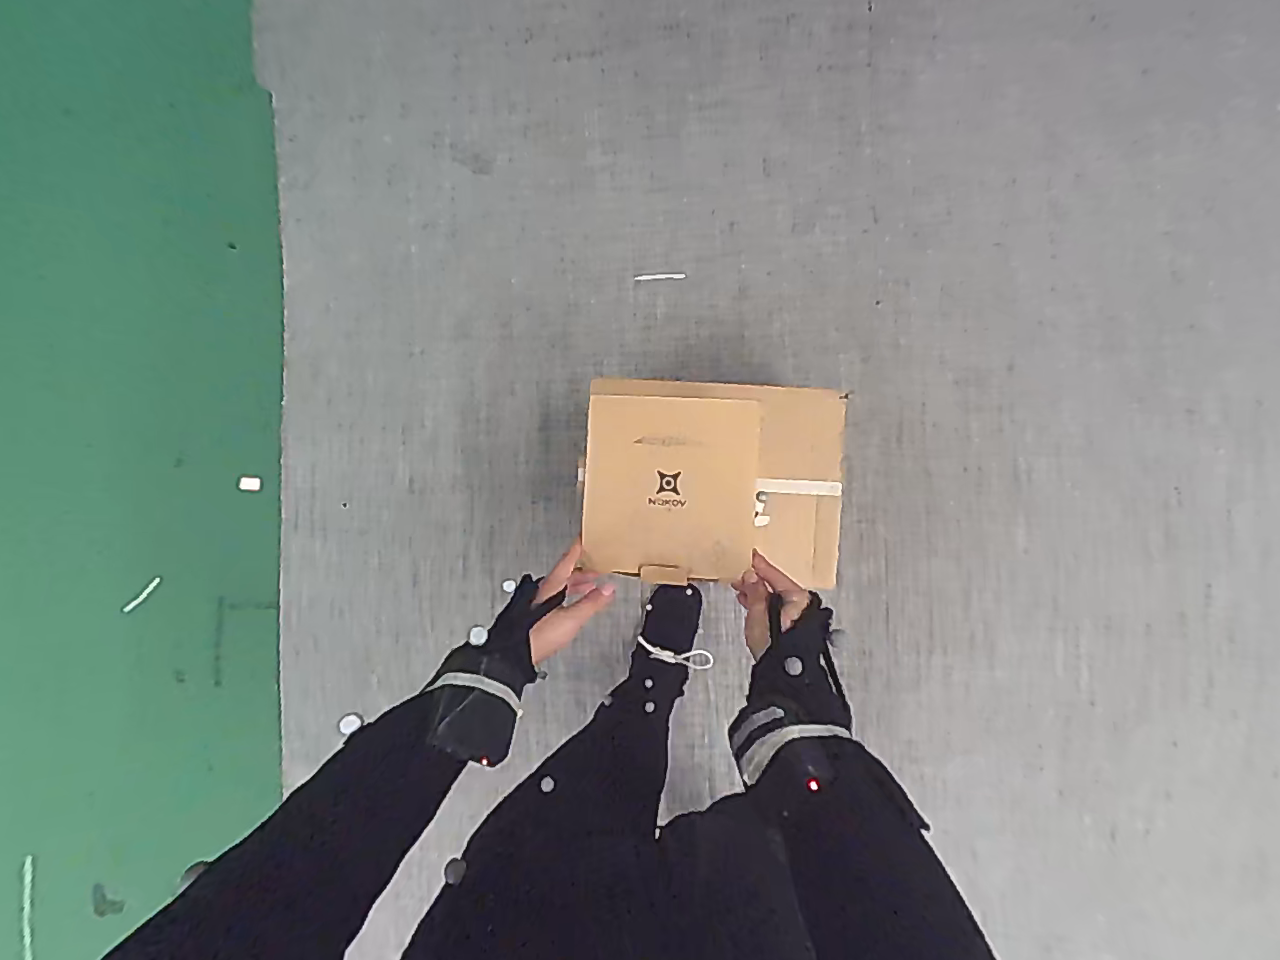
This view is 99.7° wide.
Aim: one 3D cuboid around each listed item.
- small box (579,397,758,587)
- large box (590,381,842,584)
[{"bbox_3d":[0.037,0.011,0.593,0.168,0.176,0.179,3,88,8],"label":"small box"},{"bbox_3d":[0.120,0.005,1.001,0.408,0.320,0.320,3,90,4],"label":"large box"}]
